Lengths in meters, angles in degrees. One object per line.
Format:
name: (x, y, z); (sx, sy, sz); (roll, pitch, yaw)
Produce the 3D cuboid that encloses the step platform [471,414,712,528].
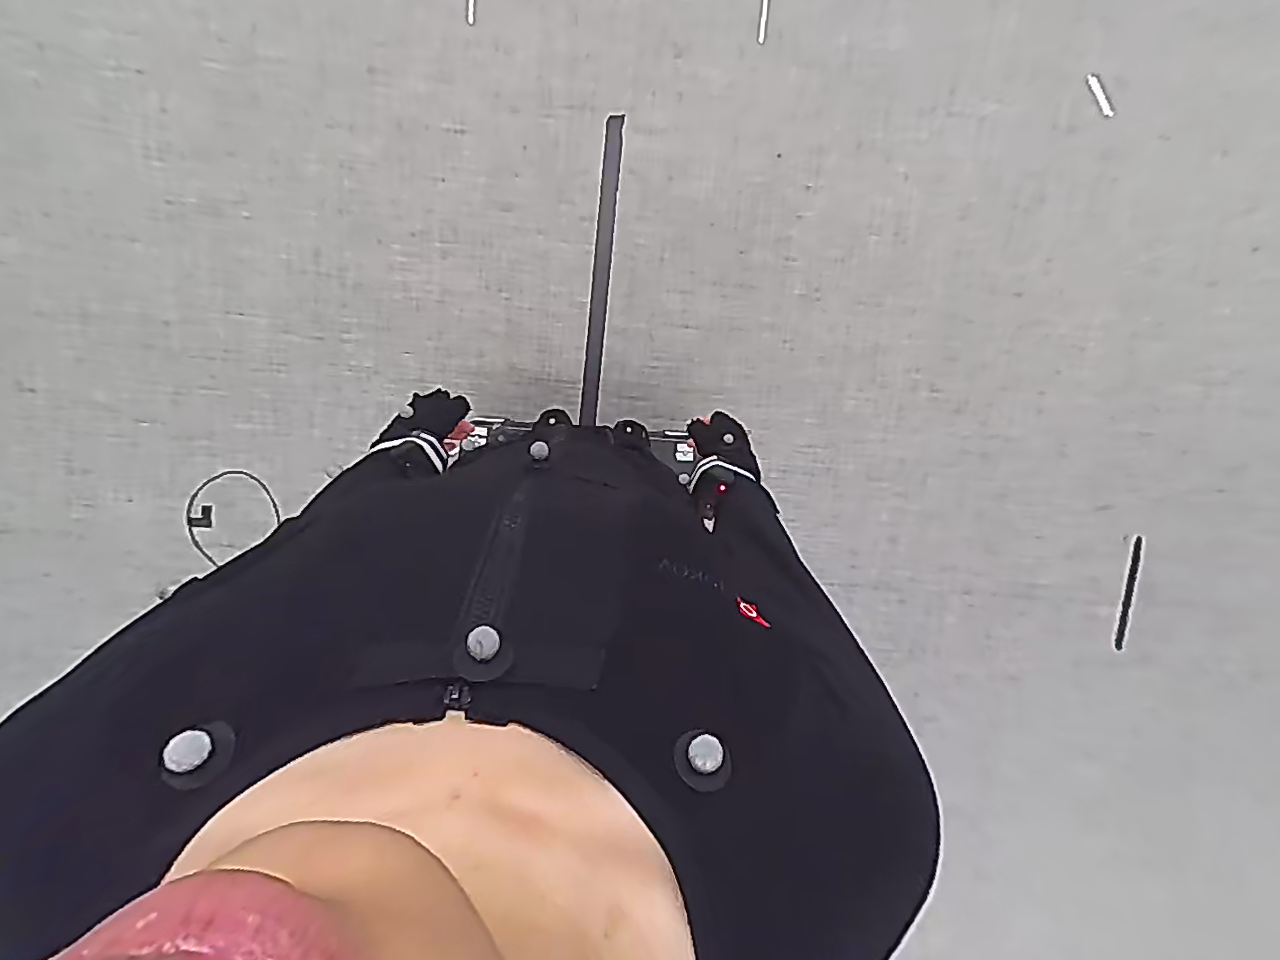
step platform: (-0.134, -0.028, 1.568); (0.684, 0.204, 0.286); (3, 98, -4)
